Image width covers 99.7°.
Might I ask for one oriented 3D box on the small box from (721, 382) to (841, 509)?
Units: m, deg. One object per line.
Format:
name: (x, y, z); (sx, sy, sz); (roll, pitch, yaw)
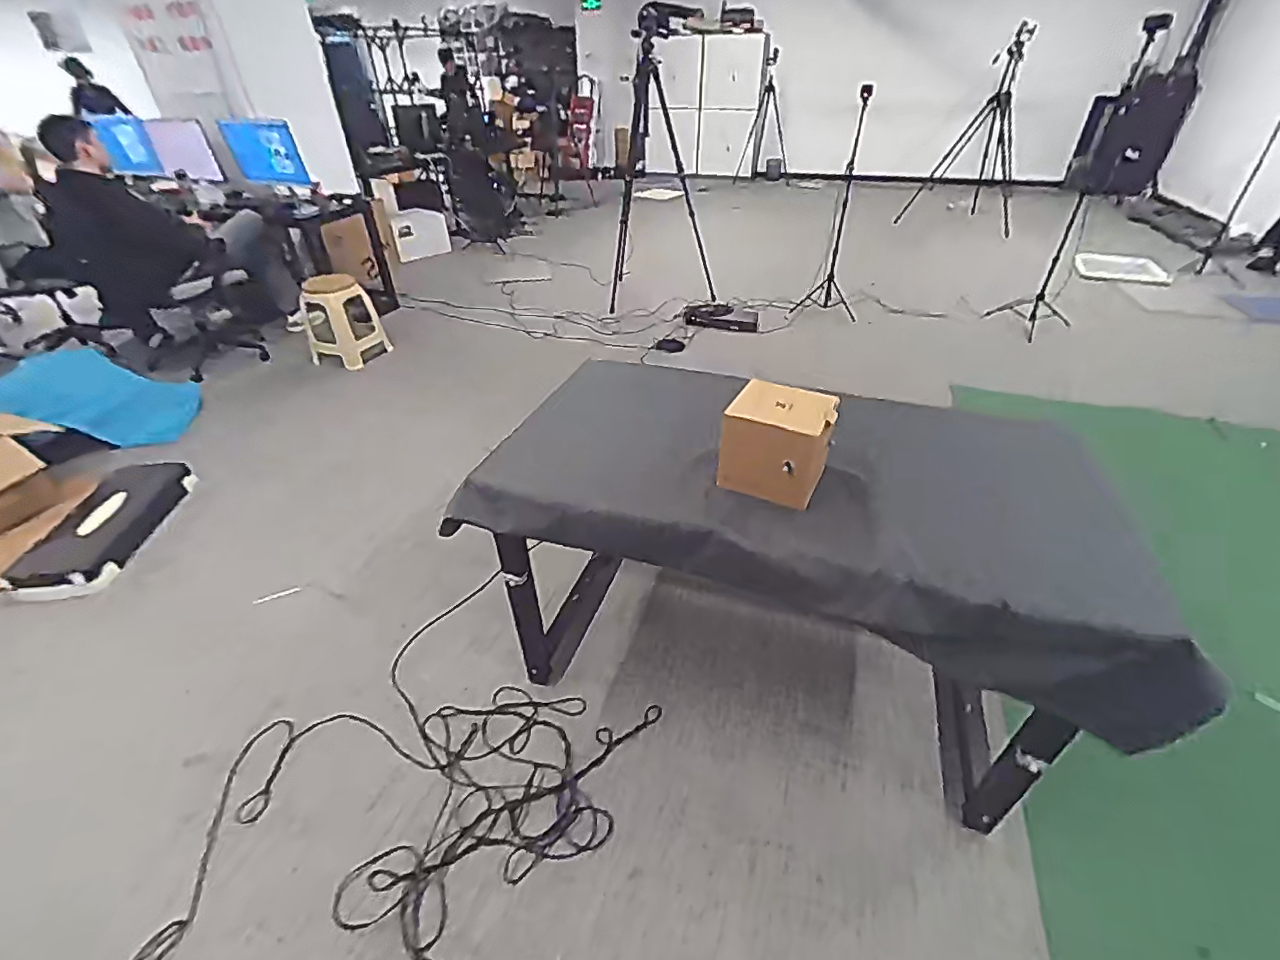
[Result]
small box: (0.268, -0.066, 1.042); (0.179, 0.176, 0.168); (16, 39, 23)
